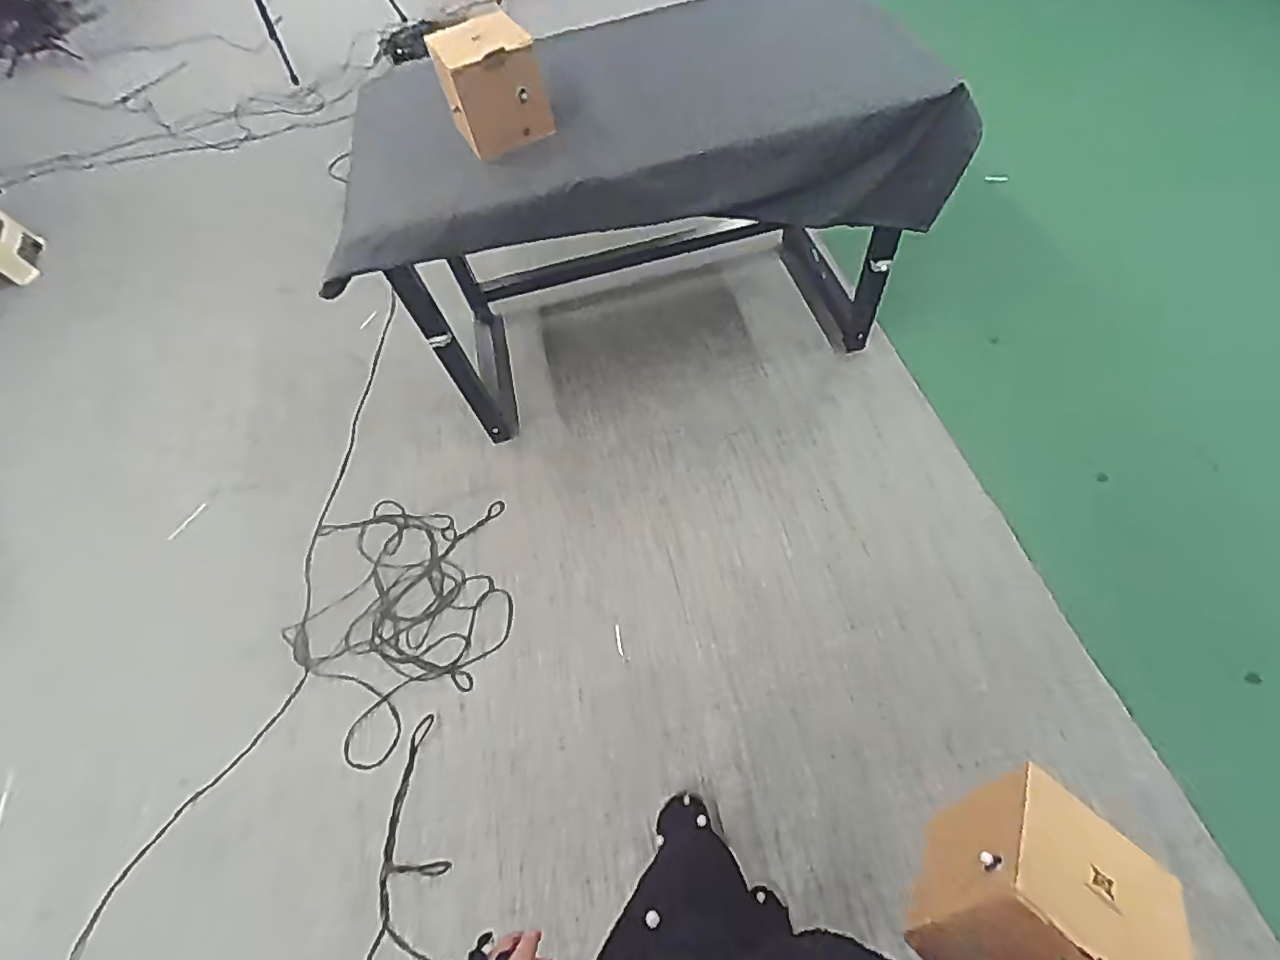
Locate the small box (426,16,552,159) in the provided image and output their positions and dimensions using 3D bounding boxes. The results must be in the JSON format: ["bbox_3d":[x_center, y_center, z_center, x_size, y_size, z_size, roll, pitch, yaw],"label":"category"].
[{"bbox_3d":[-0.292,-0.770,1.072,0.168,0.176,0.179,-27,59,-10],"label":"small box"}]

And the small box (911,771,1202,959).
[{"bbox_3d":[0.411,0.452,0.552,0.168,0.176,0.179,39,38,21],"label":"small box"}]
